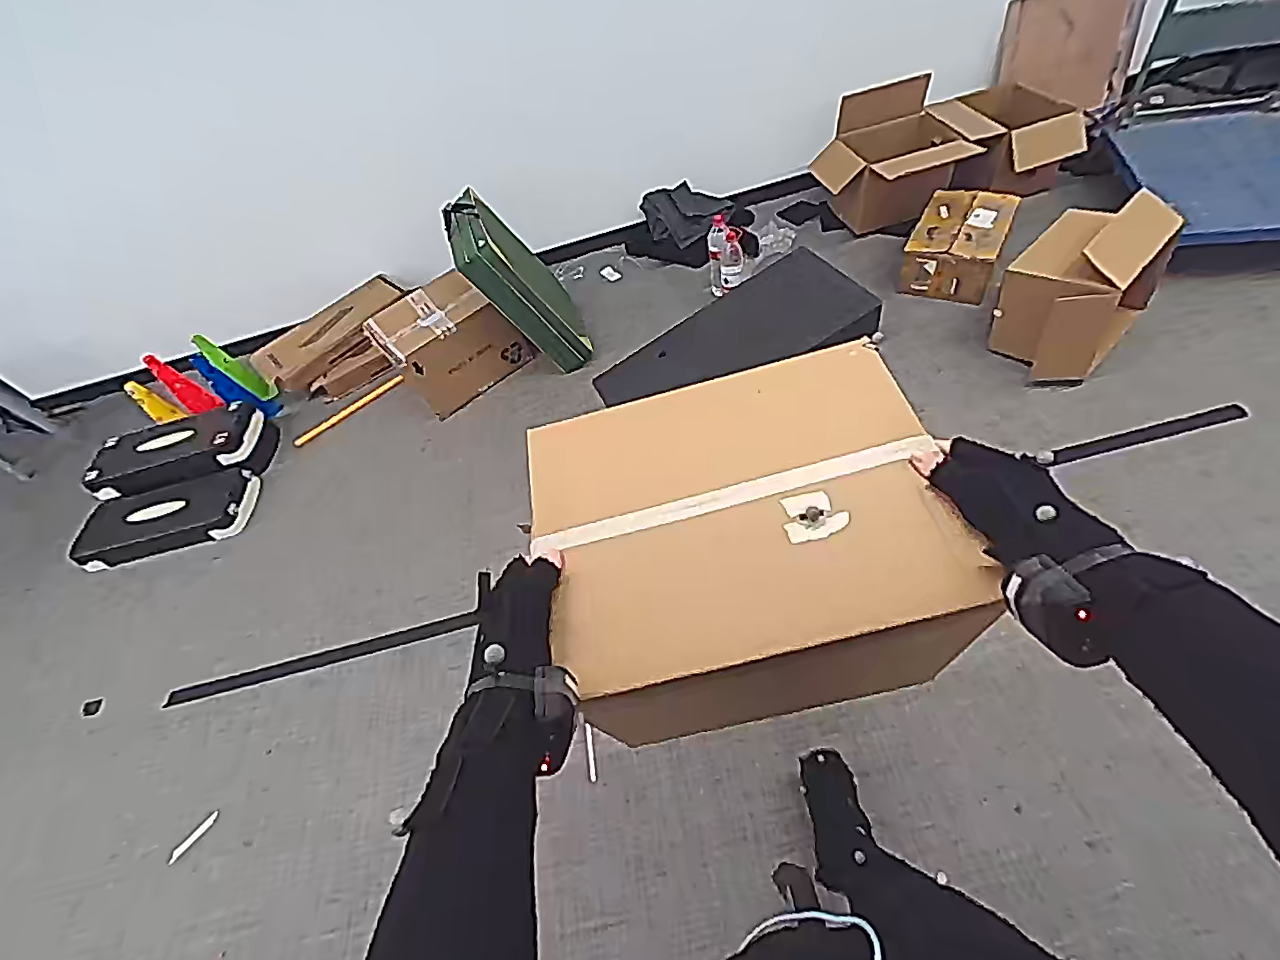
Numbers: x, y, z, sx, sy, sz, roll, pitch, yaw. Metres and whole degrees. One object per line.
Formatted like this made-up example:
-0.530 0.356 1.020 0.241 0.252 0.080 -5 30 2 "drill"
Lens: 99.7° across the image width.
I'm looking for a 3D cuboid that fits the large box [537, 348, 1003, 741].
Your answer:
0.122 0.098 0.677 0.408 0.320 0.320 -15 56 3 "large box"
